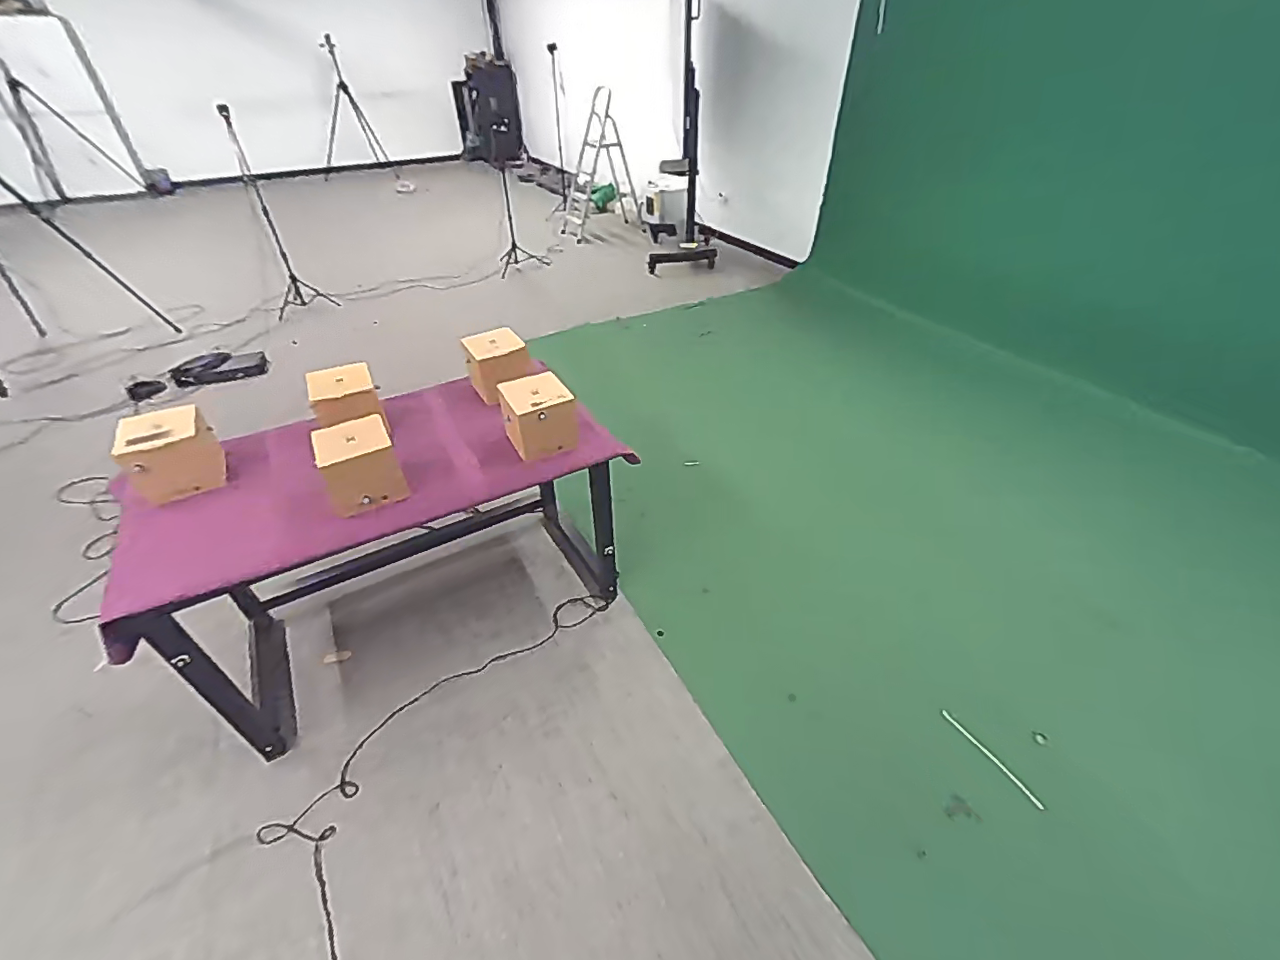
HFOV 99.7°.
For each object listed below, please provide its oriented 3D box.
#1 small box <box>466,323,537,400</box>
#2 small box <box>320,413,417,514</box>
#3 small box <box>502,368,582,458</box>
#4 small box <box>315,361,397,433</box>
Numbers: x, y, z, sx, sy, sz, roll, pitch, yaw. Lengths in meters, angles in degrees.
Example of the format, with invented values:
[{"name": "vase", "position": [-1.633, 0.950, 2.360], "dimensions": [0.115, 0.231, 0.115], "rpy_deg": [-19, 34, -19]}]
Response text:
[{"name": "small box", "position": [-0.451, -0.389, 1.776], "dimensions": [0.168, 0.176, 0.179], "rpy_deg": [-25, 46, -20]}, {"name": "small box", "position": [-0.695, -0.043, 1.388], "dimensions": [0.168, 0.176, 0.179], "rpy_deg": [-22, 43, -21]}, {"name": "small box", "position": [-0.276, -0.191, 1.538], "dimensions": [0.168, 0.176, 0.179], "rpy_deg": [-22, 44, -19]}, {"name": "small box", "position": [-0.845, -0.227, 1.612], "dimensions": [0.168, 0.176, 0.179], "rpy_deg": [-20, 46, -20]}]
